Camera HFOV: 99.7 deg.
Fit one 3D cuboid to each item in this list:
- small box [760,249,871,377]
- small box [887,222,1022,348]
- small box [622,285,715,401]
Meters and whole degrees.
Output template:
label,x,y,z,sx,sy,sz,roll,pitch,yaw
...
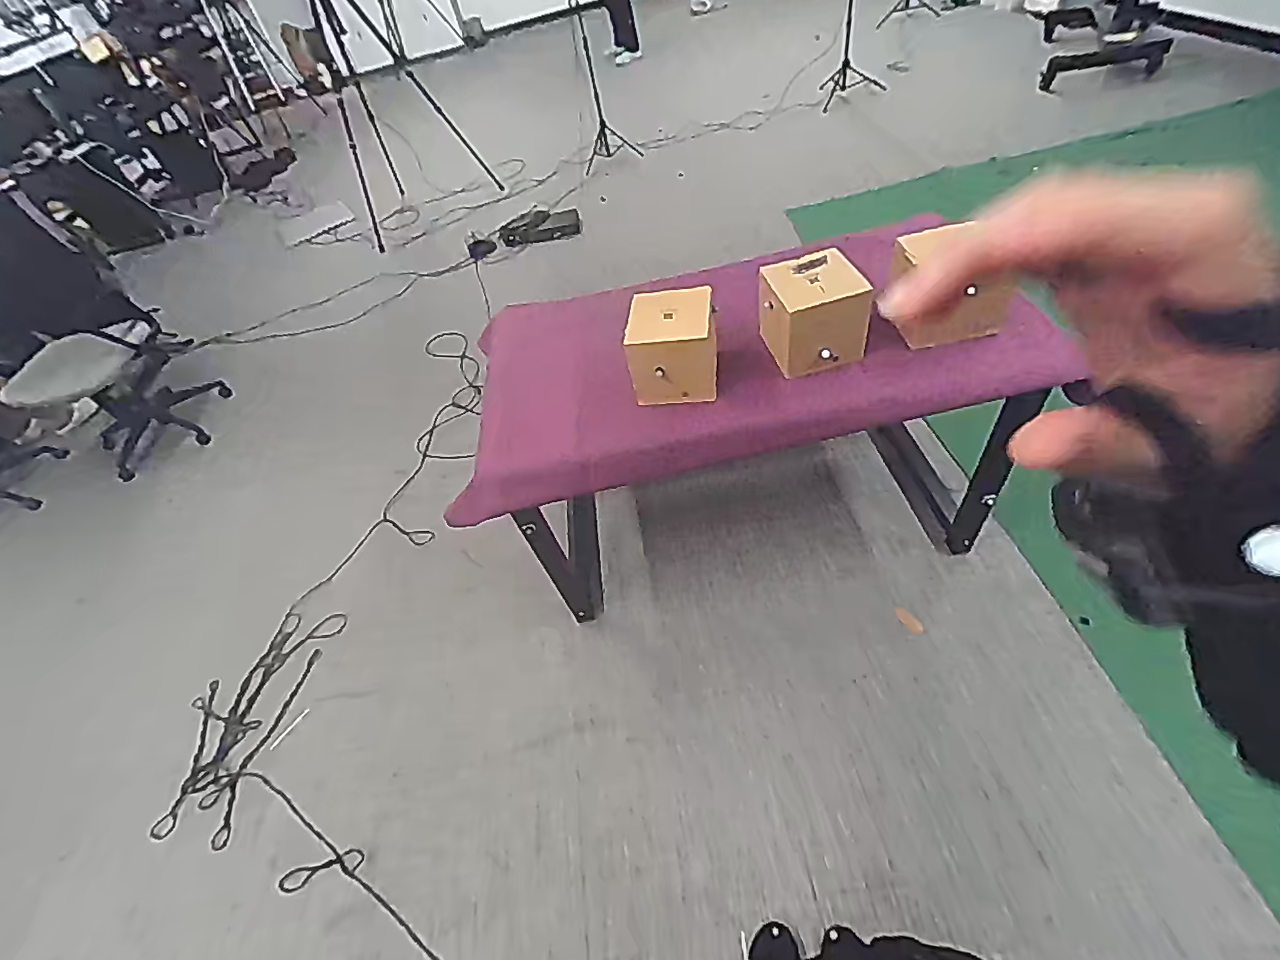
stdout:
label,x,y,z,sx,sy,sz,roll,pitch,yaw
small box,0.352,-0.344,1.120,0.168,0.176,0.179,-15,50,1
small box,0.618,-0.388,1.094,0.179,0.176,0.168,-9,49,6
small box,0.068,-0.279,1.135,0.168,0.176,0.179,-2,50,12
